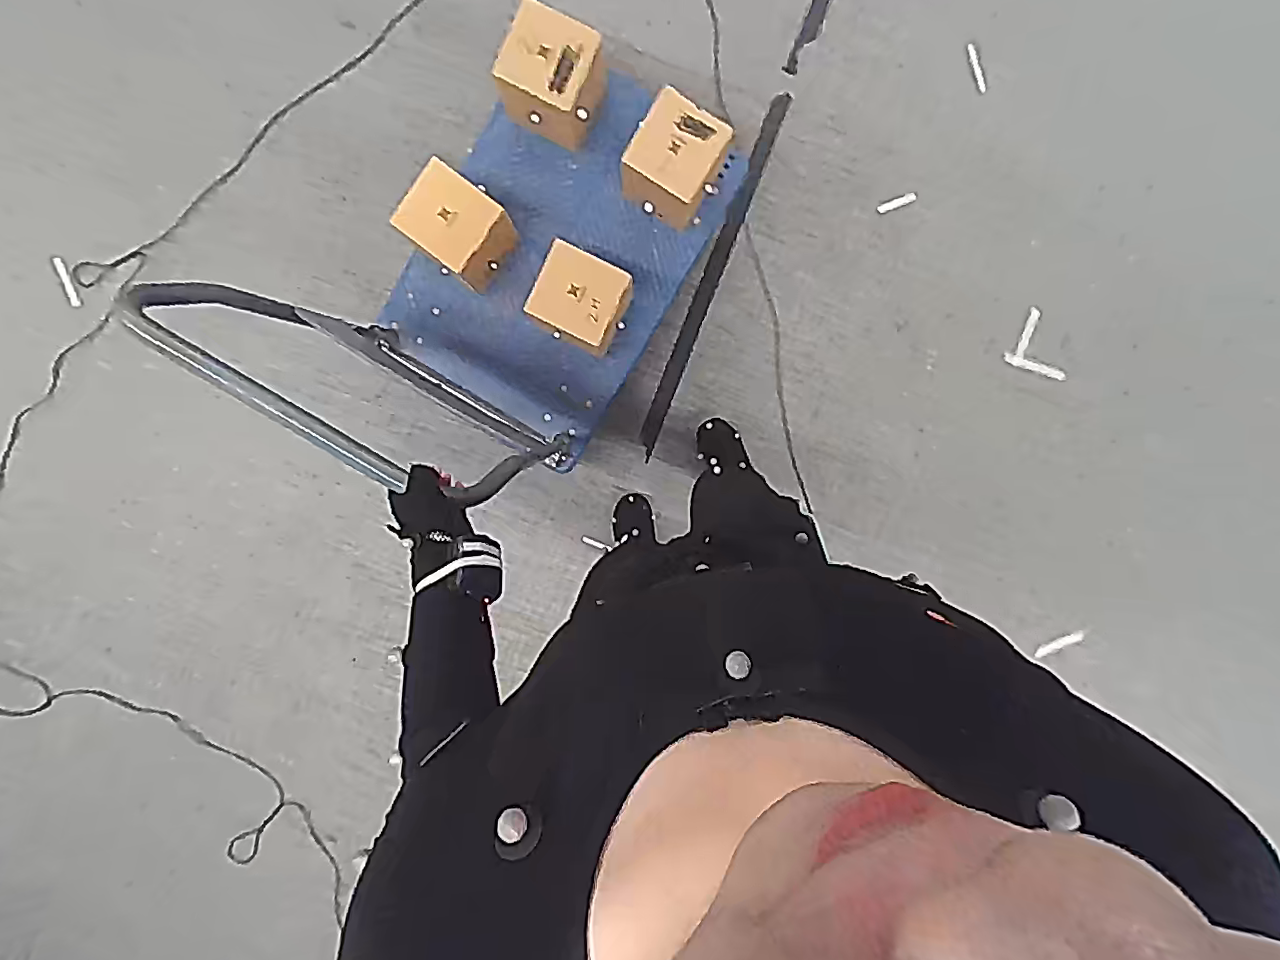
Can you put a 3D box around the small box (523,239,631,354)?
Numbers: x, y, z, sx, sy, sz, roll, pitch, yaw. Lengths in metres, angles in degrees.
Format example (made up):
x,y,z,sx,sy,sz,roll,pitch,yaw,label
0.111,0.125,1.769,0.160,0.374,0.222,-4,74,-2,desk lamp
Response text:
x,y,z,sx,sy,sz,roll,pitch,yaw,label
-0.132,-0.394,1.197,0.179,0.176,0.168,26,94,-2,small box

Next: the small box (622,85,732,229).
x,y,z,sx,sy,sz,roll,pitch,yaw,label
0.073,-0.688,1.174,0.168,0.176,0.179,32,95,-3,small box

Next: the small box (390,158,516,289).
x,y,z,sx,sy,sz,roll,pitch,yaw,label
-0.399,-0.546,1.182,0.179,0.176,0.168,36,93,-5,small box
